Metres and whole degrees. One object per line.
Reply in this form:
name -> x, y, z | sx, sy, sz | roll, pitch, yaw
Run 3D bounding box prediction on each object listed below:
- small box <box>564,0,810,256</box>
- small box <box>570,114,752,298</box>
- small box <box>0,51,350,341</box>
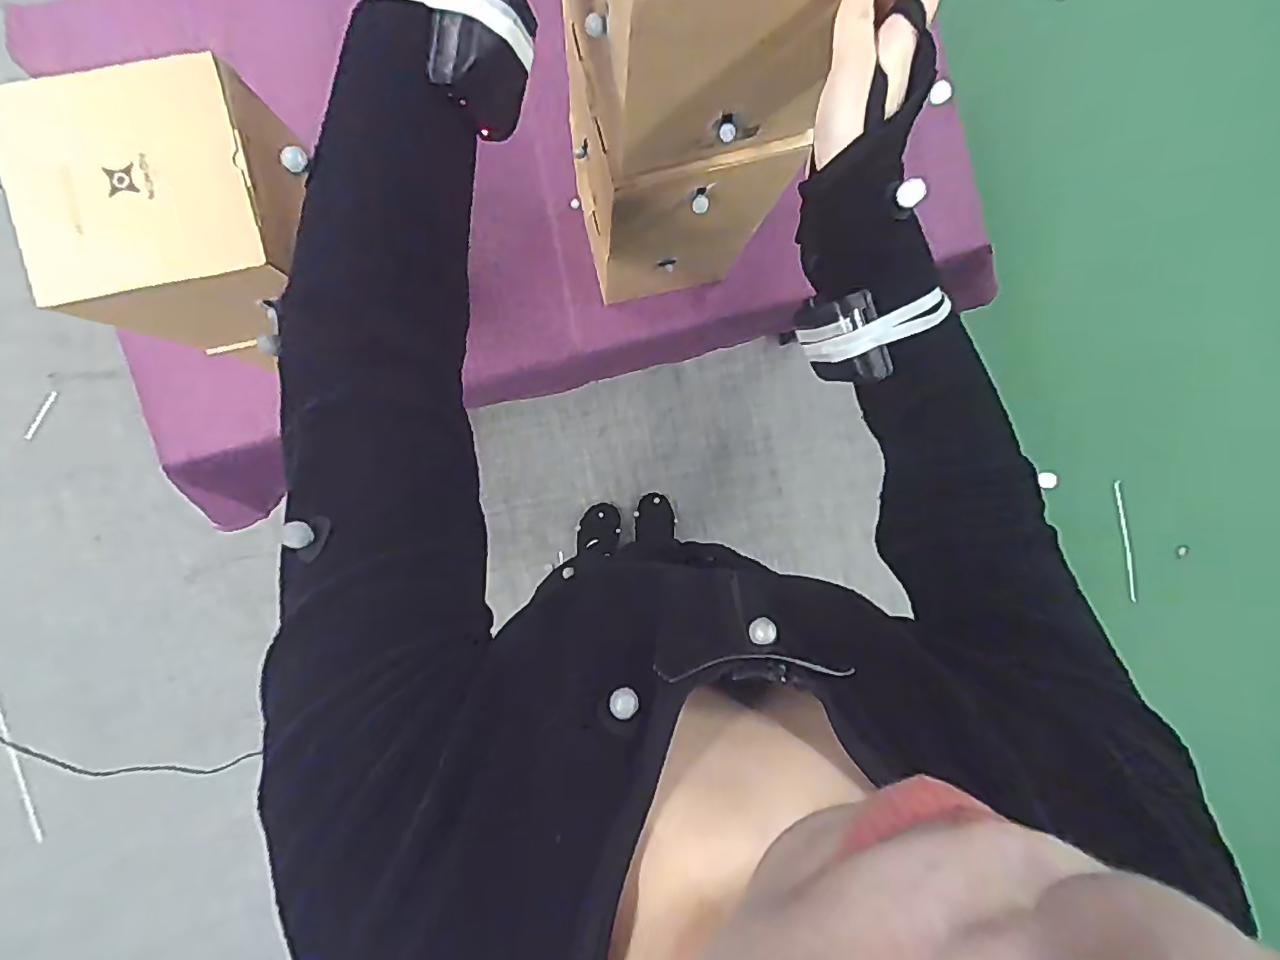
small box -> 0.035, -0.337, 0.515 | 0.179, 0.176, 0.168 | -14, 94, -2
small box -> 0.021, -0.344, 0.677 | 0.179, 0.176, 0.168 | -14, 94, -3
small box -> -0.392, -0.235, 0.492 | 0.179, 0.176, 0.168 | -12, 93, -3
